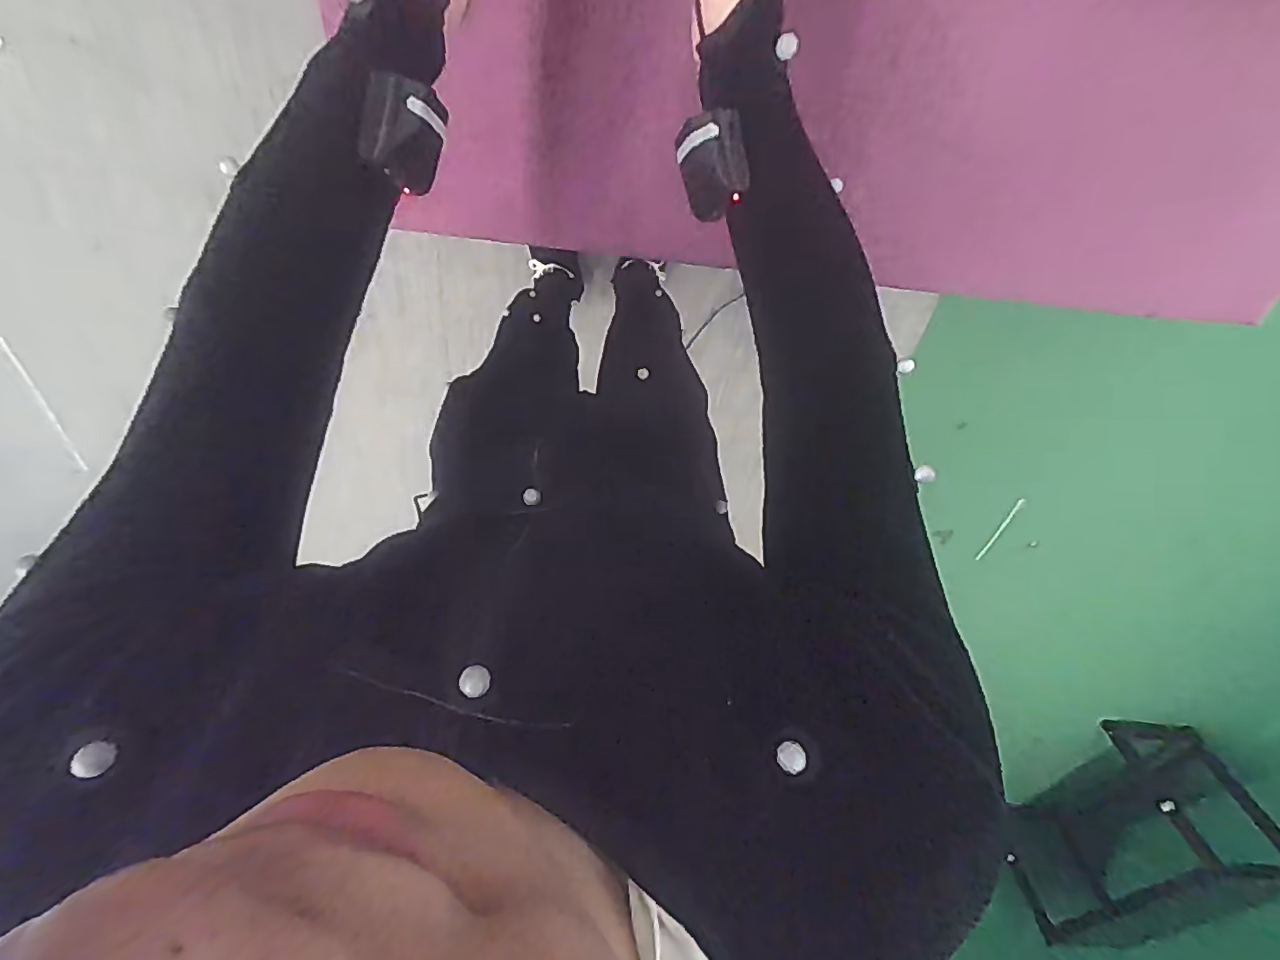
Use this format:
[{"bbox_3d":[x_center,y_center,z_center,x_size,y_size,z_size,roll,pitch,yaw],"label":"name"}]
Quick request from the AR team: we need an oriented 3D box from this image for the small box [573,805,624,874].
[{"bbox_3d":[-0.154,1.350,2.029,0.168,0.176,0.179,8,127,-9],"label":"small box"}]

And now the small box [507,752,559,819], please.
[{"bbox_3d":[-0.413,1.191,2.106,0.168,0.176,0.179,10,126,-10],"label":"small box"}]
